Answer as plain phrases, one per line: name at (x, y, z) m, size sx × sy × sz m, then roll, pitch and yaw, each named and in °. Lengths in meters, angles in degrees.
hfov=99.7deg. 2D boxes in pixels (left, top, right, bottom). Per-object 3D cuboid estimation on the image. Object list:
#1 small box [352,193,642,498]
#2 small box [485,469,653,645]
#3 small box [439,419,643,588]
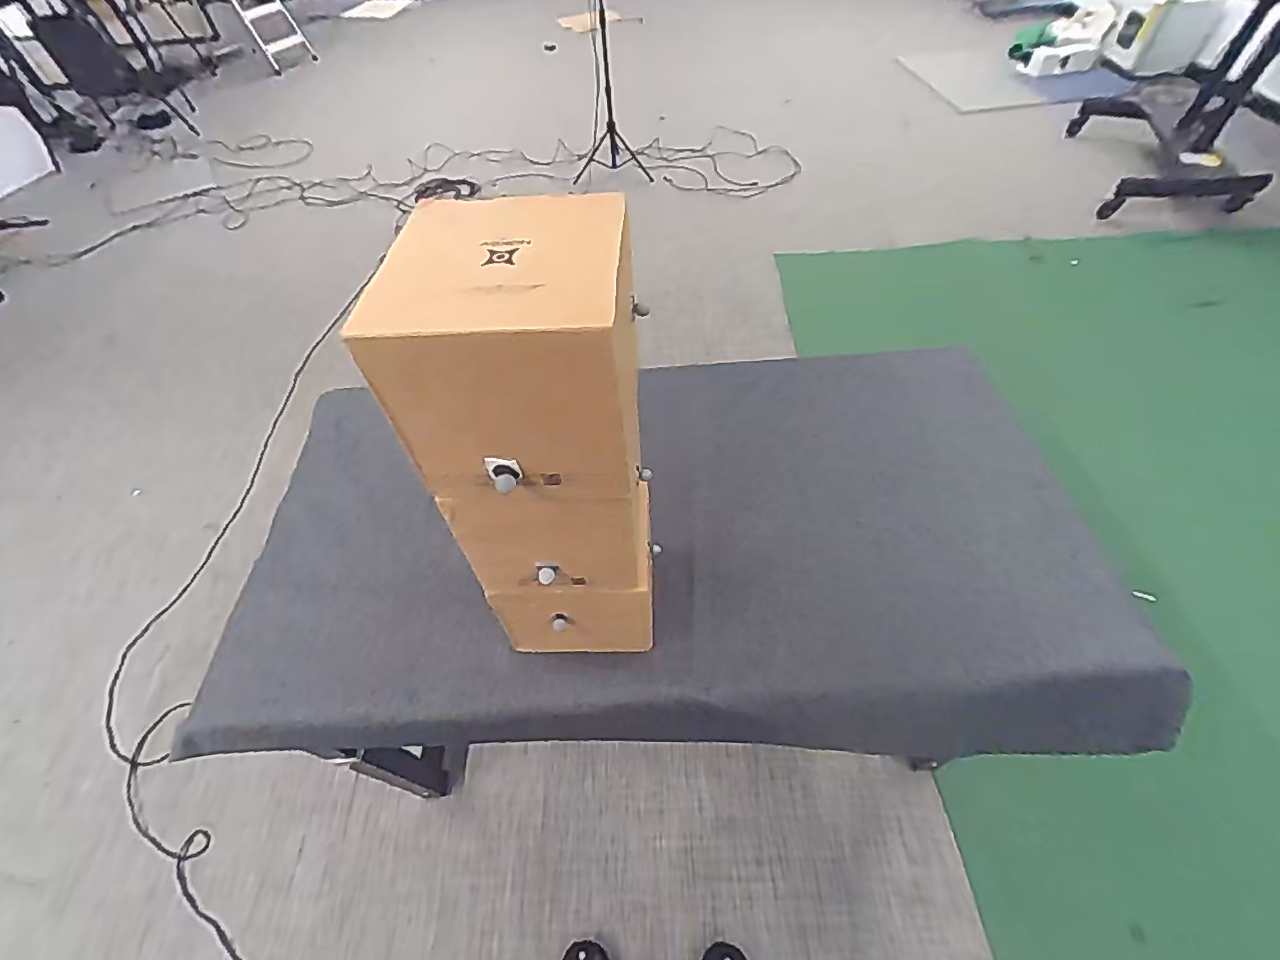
small box at (-0.086, -0.104, 0.433) m, size 0.168 × 0.176 × 0.179 m, roll -1°, pitch 53°, yaw 4°
small box at (-0.075, 0.101, 0.687) m, size 0.179 × 0.176 × 0.168 m, roll -1°, pitch 52°, yaw 3°
small box at (-0.084, -0.006, 0.562) m, size 0.168 × 0.176 × 0.179 m, roll 0°, pitch 52°, yaw 2°
